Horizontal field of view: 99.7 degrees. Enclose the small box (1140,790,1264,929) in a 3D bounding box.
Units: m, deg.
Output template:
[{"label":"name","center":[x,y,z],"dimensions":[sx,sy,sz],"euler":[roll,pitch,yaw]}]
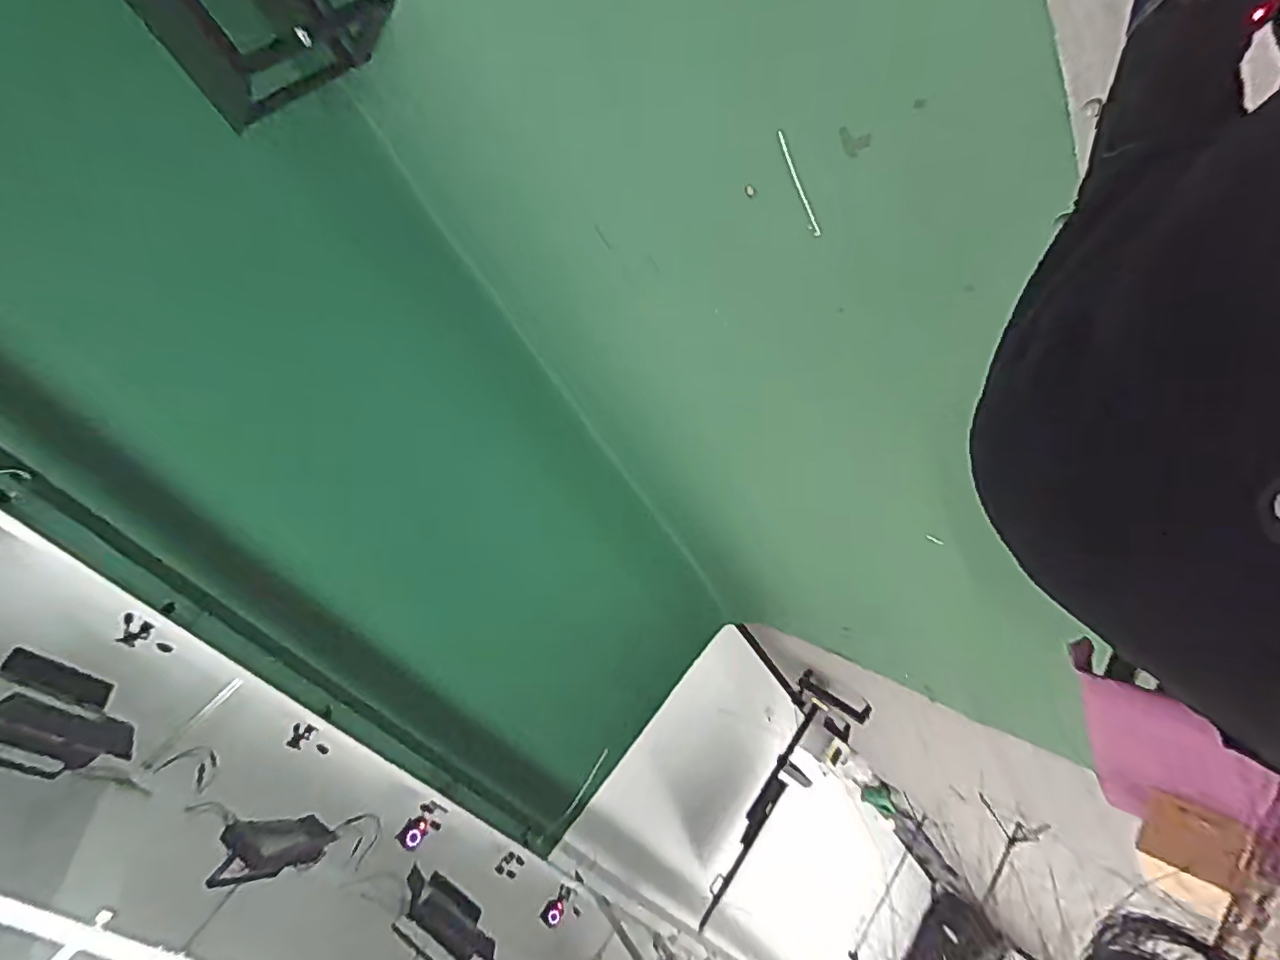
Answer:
[{"label":"small box","center":[1.311,0.874,1.260],"dimensions":[0.179,0.176,0.168],"euler":[54,156,-23]}]
